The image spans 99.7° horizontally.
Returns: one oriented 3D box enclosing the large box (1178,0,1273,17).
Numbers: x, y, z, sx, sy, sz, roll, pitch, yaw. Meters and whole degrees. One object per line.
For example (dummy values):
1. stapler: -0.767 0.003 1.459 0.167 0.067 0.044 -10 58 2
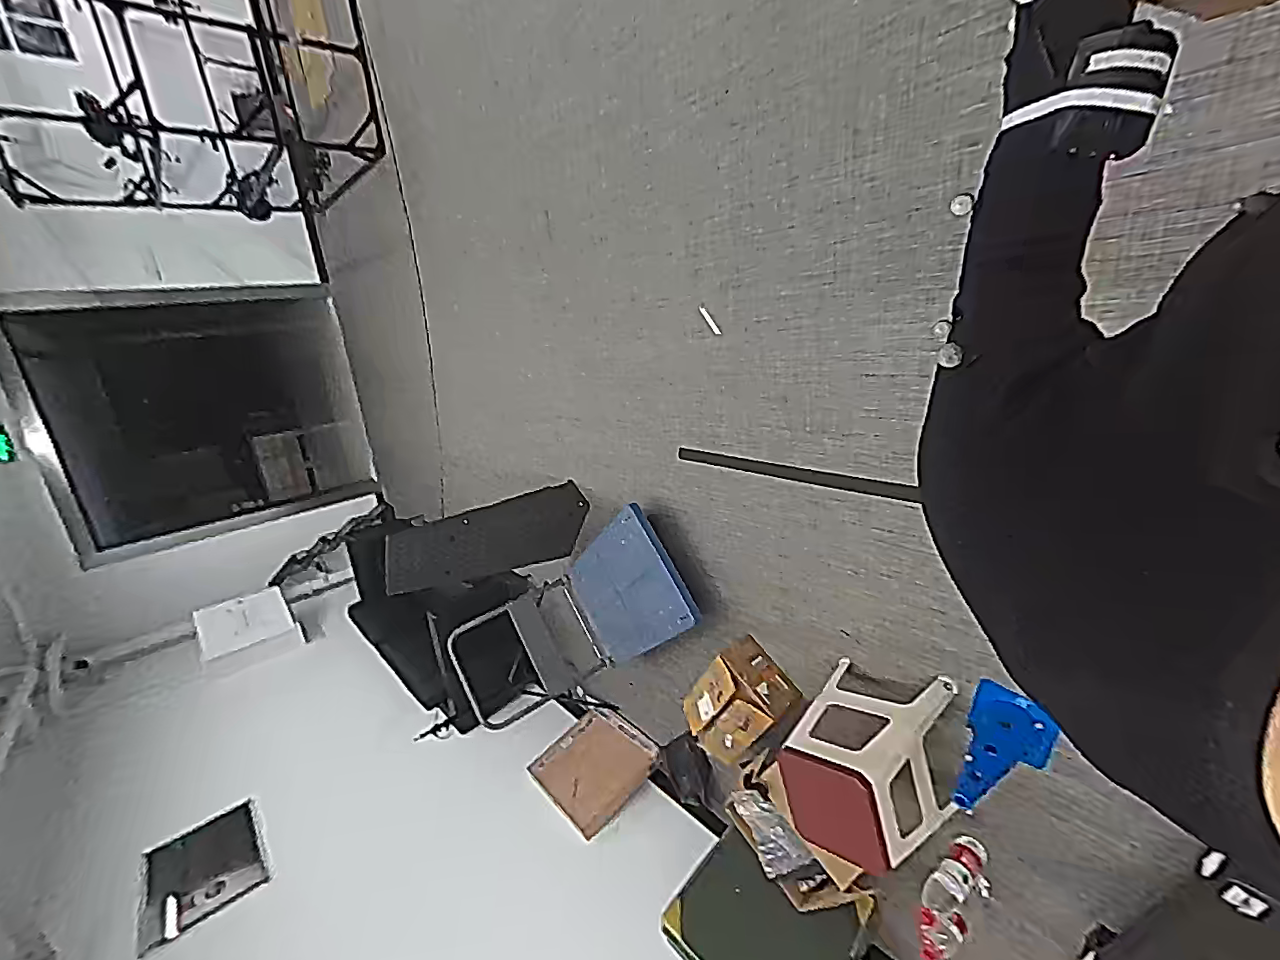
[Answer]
1. large box: 0.531 -0.475 0.228 0.408 0.320 0.320 15 127 45
